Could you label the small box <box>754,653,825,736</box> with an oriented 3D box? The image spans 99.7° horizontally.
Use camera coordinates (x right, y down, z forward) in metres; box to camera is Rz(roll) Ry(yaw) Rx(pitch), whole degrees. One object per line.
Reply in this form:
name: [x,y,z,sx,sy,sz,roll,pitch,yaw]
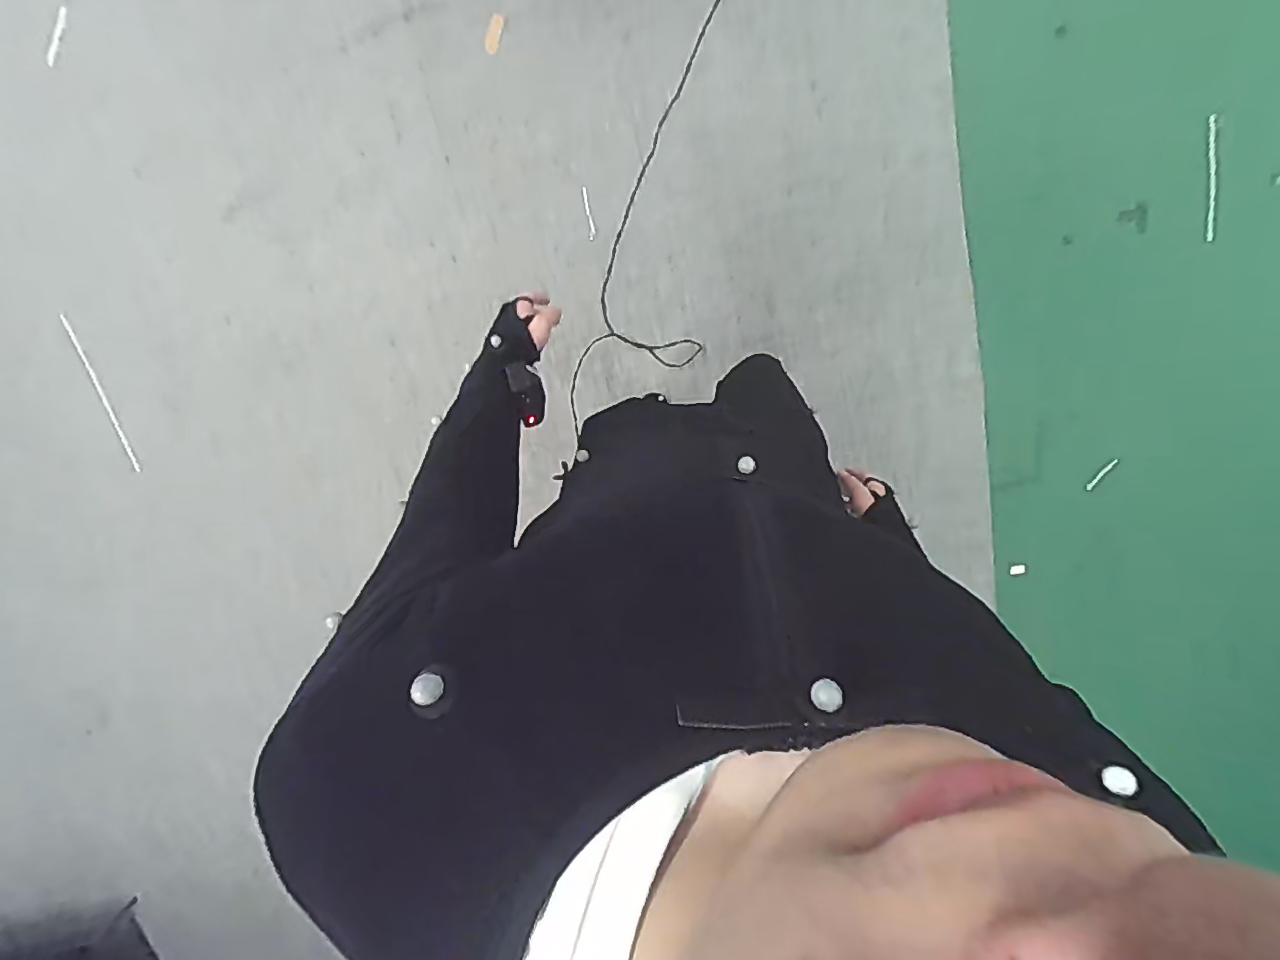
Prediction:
small box: [0.465,0.673,1.707,0.179,0.176,0.168,-10,104,2]
